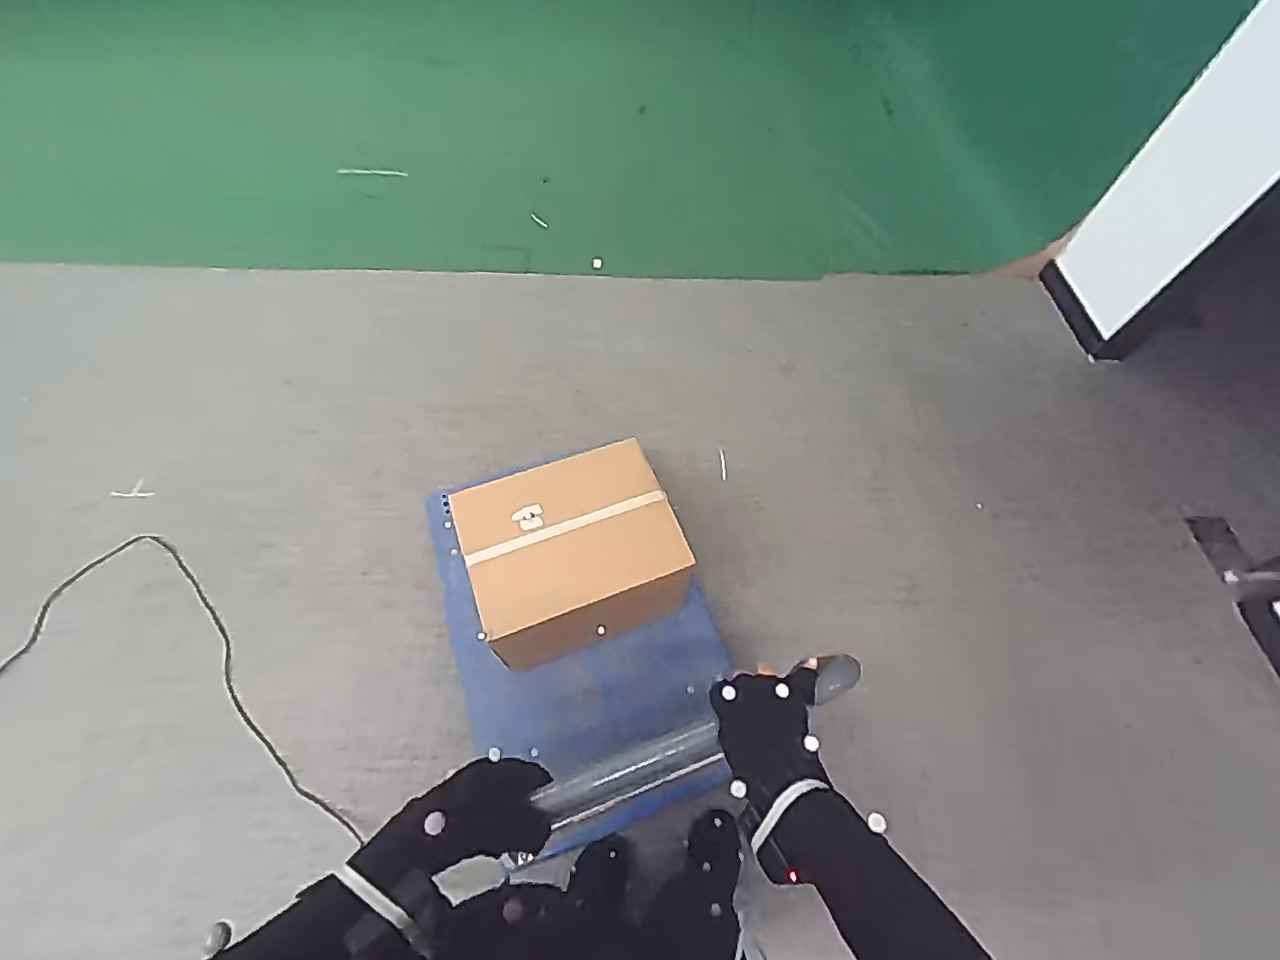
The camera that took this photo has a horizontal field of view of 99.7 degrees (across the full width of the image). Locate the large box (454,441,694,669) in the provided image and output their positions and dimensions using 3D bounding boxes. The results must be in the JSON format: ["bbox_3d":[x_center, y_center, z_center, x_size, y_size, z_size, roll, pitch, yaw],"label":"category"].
[{"bbox_3d":[-0.138,0.172,1.187,0.408,0.320,0.320,-19,63,-12],"label":"large box"}]
